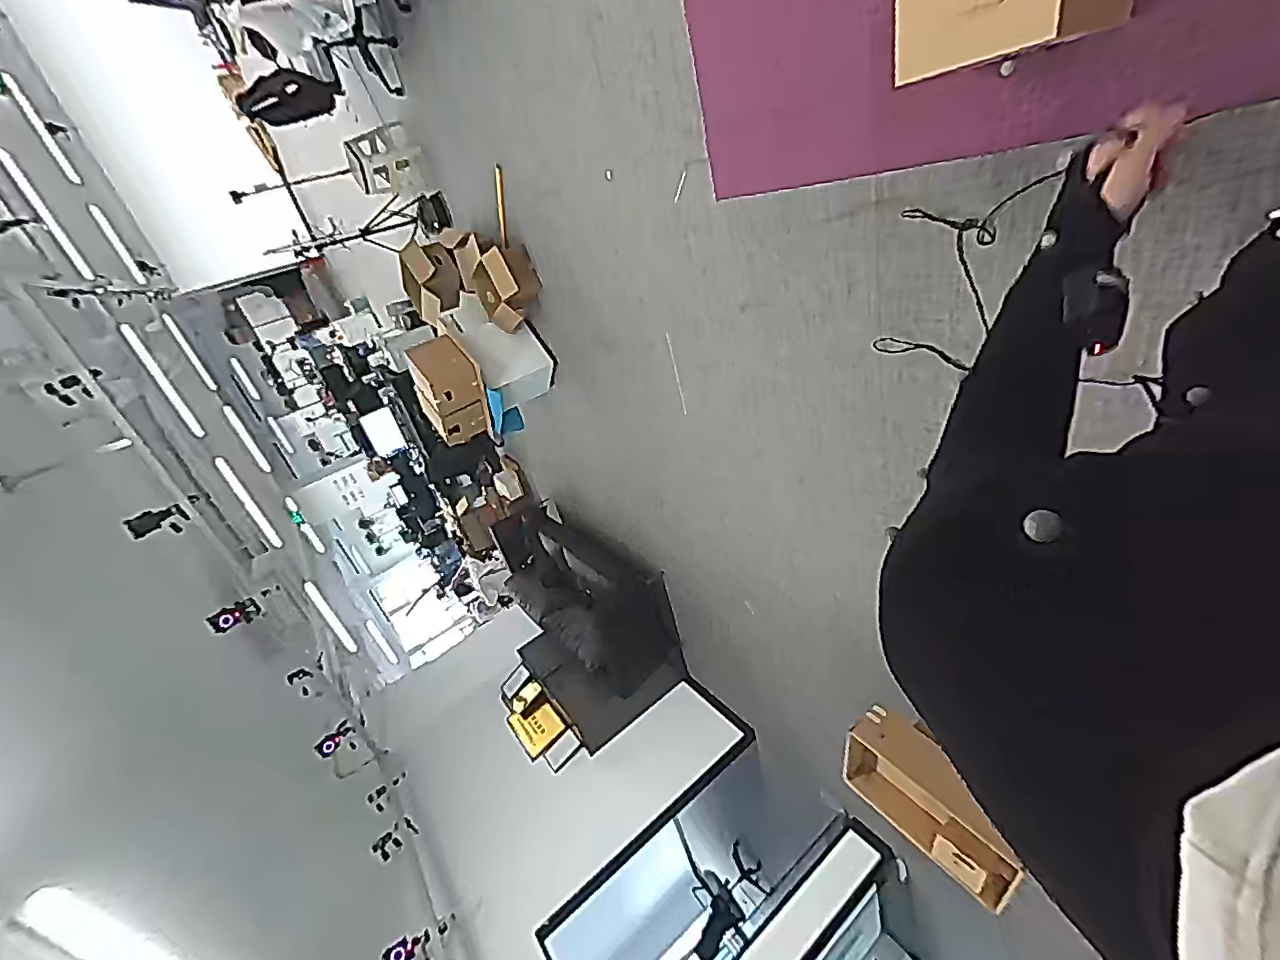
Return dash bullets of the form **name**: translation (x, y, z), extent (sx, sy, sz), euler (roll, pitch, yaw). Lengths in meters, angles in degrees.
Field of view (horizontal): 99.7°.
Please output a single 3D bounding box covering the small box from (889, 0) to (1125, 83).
- **small box**: translation (0.383, -0.542, 0.558), extent (0.168, 0.176, 0.179), euler (27, 139, 50)
